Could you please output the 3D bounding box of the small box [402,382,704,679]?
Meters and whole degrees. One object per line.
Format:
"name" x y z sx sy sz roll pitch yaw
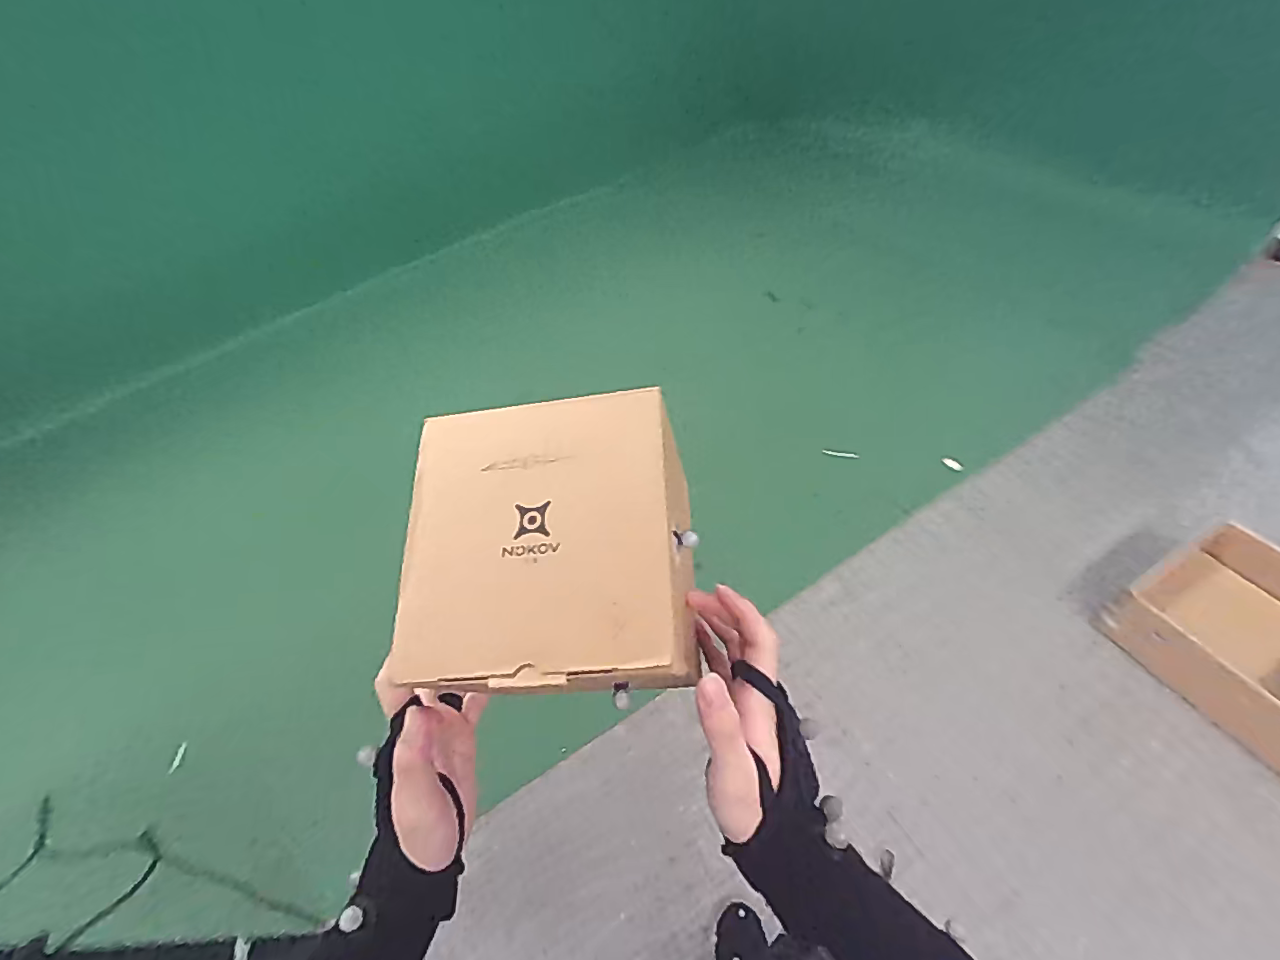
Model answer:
"small box" -0.044 0.053 0.403 0.168 0.176 0.179 -5 66 9
